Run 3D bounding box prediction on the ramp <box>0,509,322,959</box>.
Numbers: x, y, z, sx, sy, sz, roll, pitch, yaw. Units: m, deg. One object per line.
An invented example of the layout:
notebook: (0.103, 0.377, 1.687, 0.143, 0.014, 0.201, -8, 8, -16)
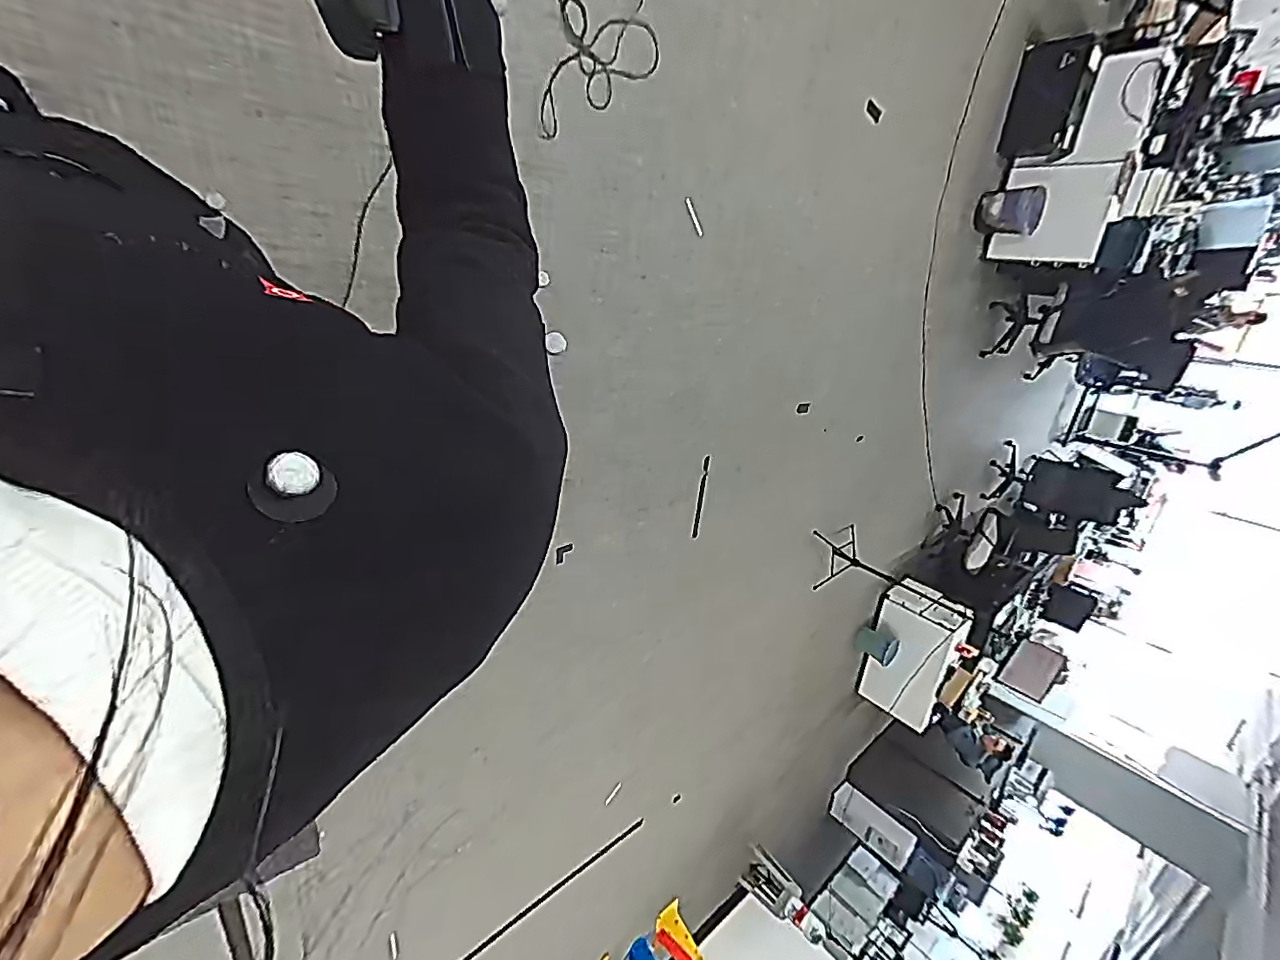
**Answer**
ramp: (-1.080, 0.587, 1.255, 0.509, 0.206, 0.991, -12, 116, -38)
